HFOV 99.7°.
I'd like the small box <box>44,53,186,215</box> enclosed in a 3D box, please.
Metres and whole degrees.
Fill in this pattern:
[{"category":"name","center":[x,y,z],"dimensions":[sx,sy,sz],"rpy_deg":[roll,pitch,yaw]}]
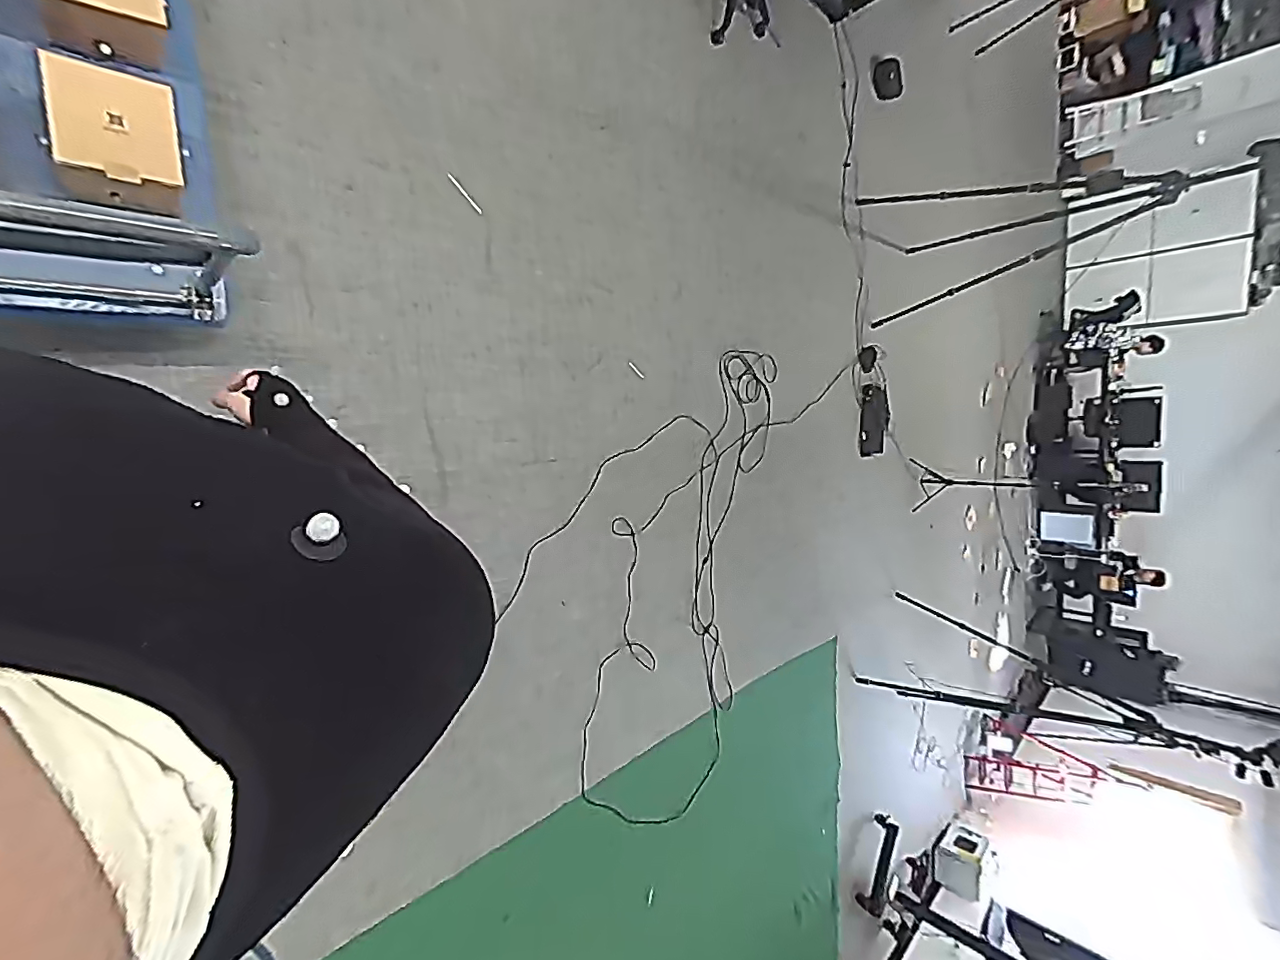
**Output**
[{"category":"small box","center":[-0.958,-0.619,0.994],"dimensions":[0.168,0.176,0.179],"rpy_deg":[-9,99,-42]}]

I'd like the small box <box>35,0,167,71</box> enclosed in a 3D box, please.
[{"category":"small box","center":[-0.971,-0.885,0.961],"dimensions":[0.168,0.176,0.179],"rpy_deg":[-14,103,-41]}]
